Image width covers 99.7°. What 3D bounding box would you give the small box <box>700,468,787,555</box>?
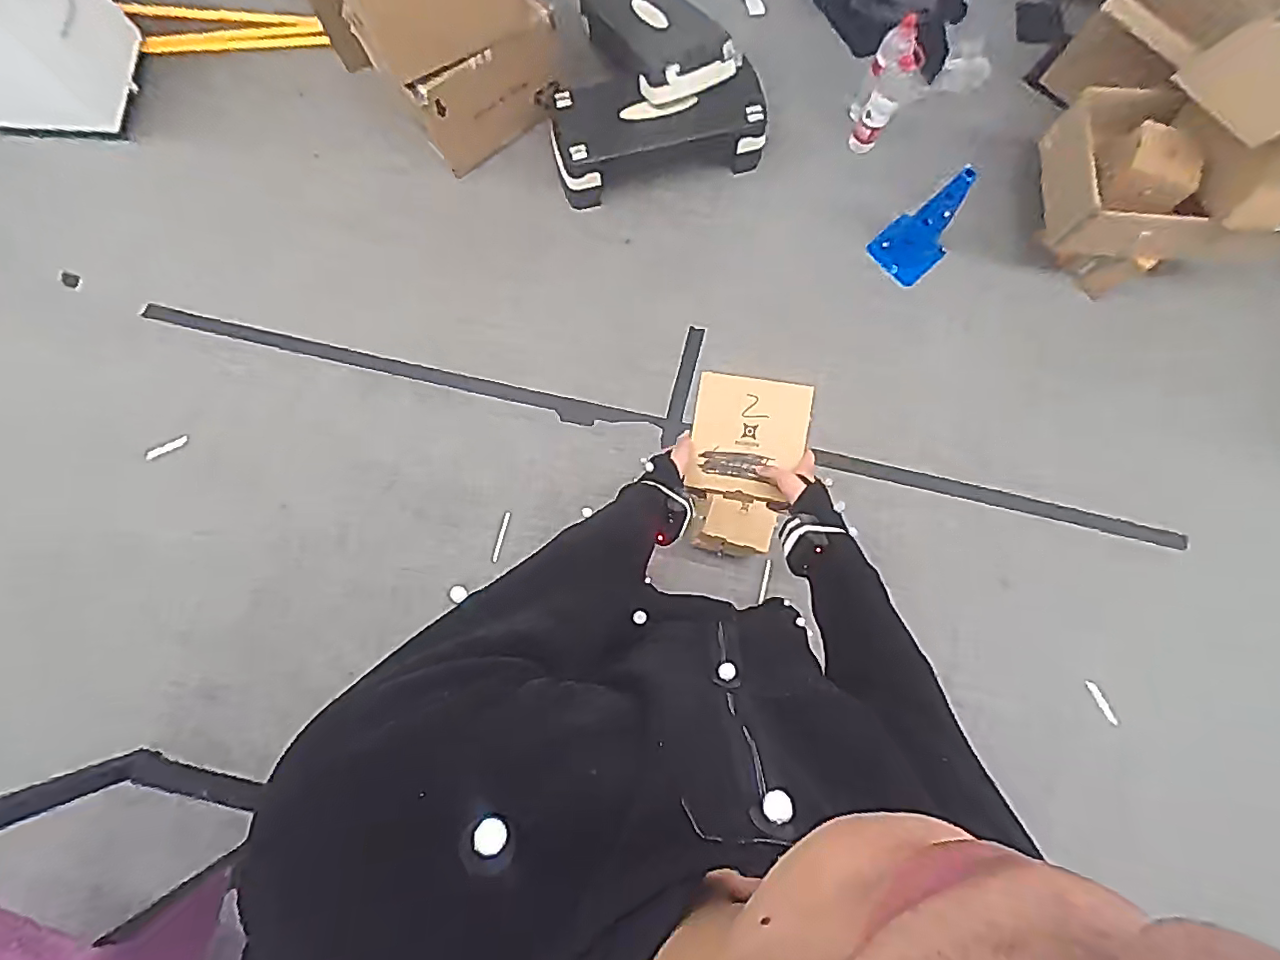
[{"bbox_3d":[0.261,0.086,1.405,0.168,0.176,0.179,18,81,3],"label":"small box"}]

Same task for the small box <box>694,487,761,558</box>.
[{"bbox_3d":[0.262,0.127,1.563,0.179,0.176,0.168,13,80,3],"label":"small box"}]
